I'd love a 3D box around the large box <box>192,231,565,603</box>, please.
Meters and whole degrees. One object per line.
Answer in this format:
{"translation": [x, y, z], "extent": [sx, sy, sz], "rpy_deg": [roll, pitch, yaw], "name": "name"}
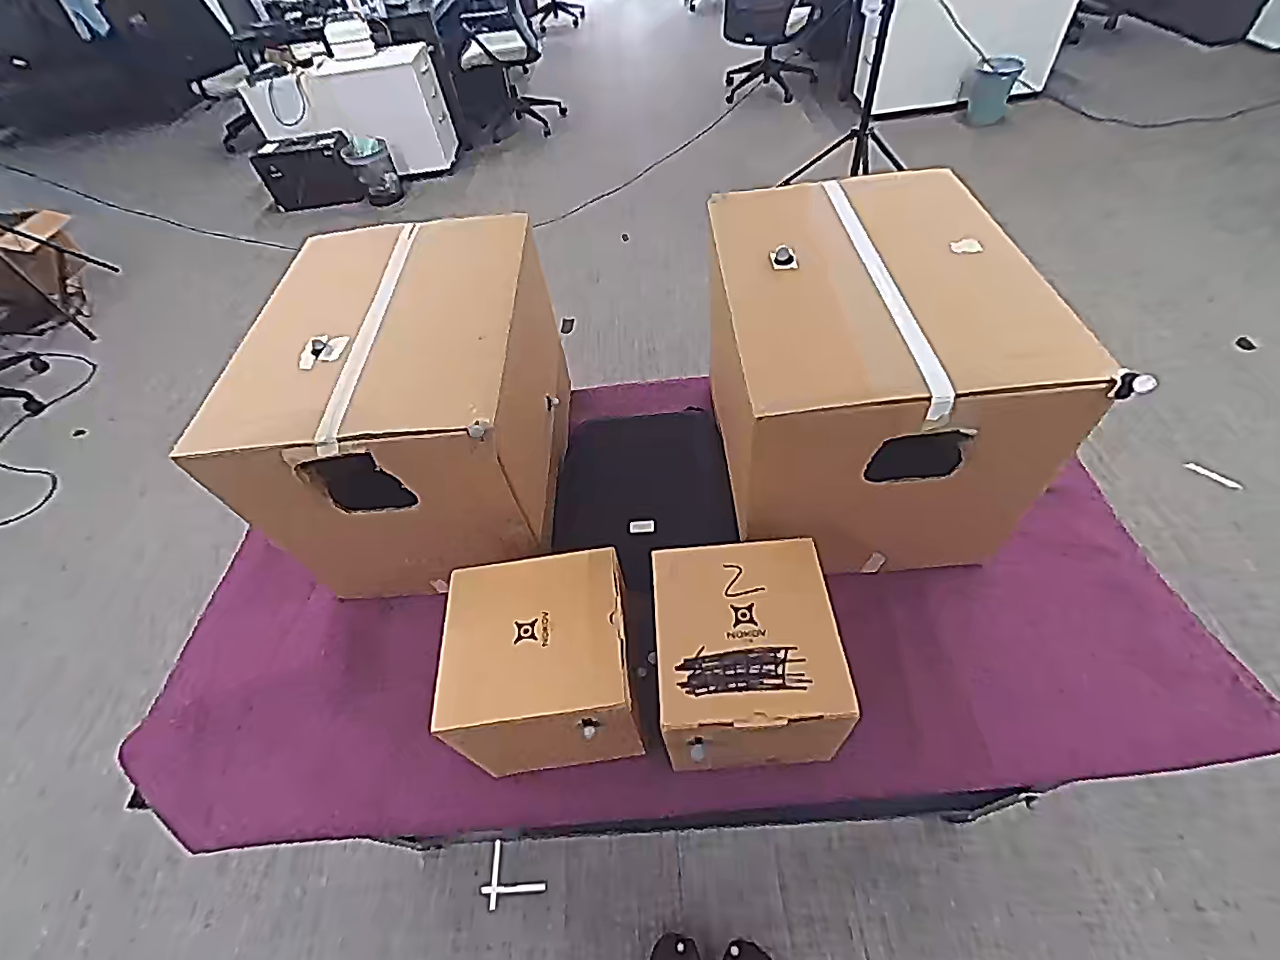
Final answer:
{"translation": [-0.285, -0.085, 0.753], "extent": [0.320, 0.320, 0.408], "rpy_deg": [-6, 54, 3], "name": "large box"}
